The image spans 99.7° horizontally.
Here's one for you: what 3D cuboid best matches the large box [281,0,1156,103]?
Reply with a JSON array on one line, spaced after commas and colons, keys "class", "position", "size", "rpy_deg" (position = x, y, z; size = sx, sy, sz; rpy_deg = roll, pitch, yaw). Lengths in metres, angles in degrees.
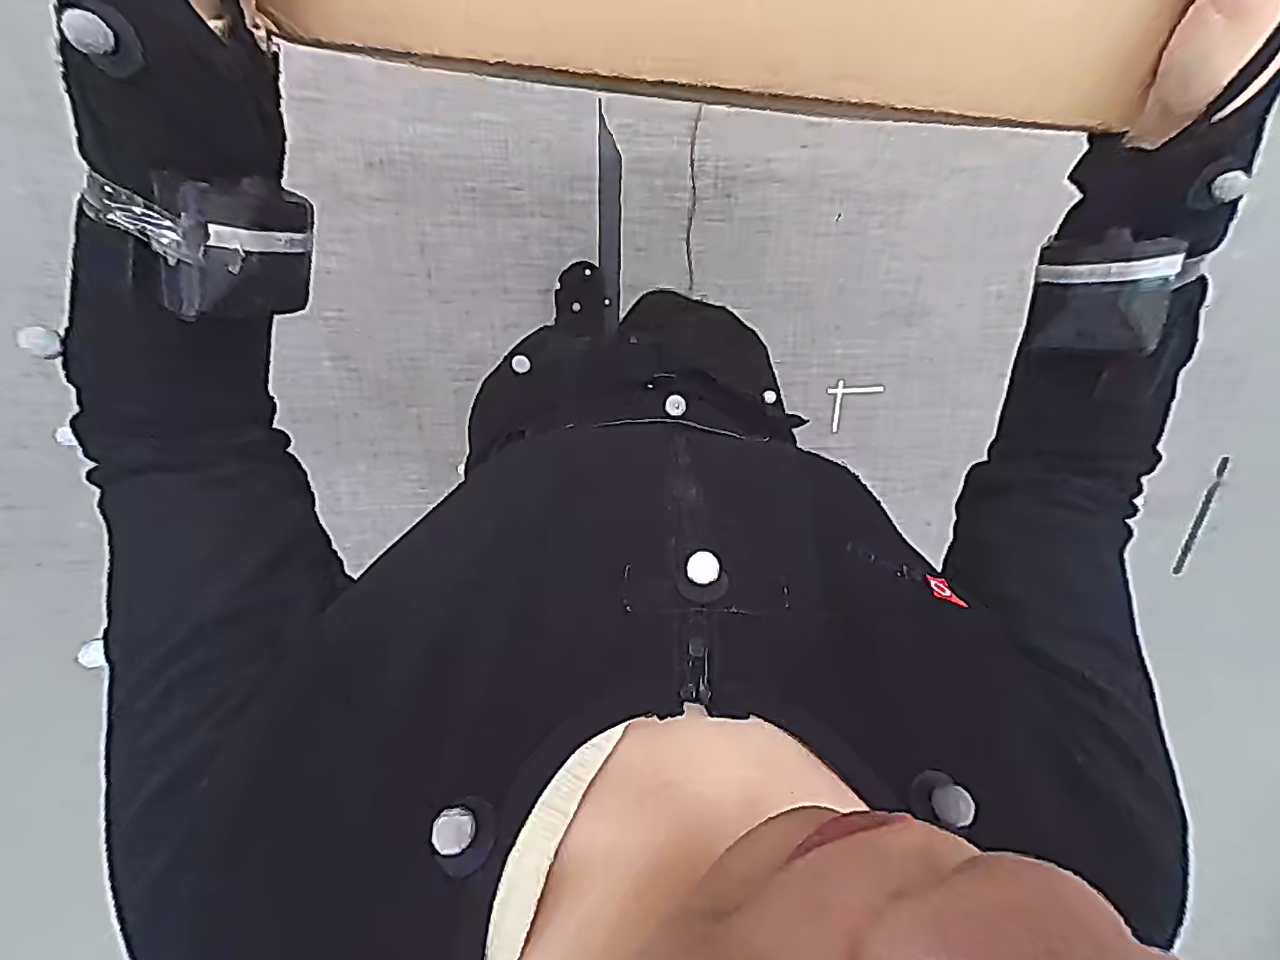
[{"class": "large box", "position": [0.040, -0.406, 0.289], "size": [0.408, 0.320, 0.320], "rpy_deg": [2, 125, -6]}]
